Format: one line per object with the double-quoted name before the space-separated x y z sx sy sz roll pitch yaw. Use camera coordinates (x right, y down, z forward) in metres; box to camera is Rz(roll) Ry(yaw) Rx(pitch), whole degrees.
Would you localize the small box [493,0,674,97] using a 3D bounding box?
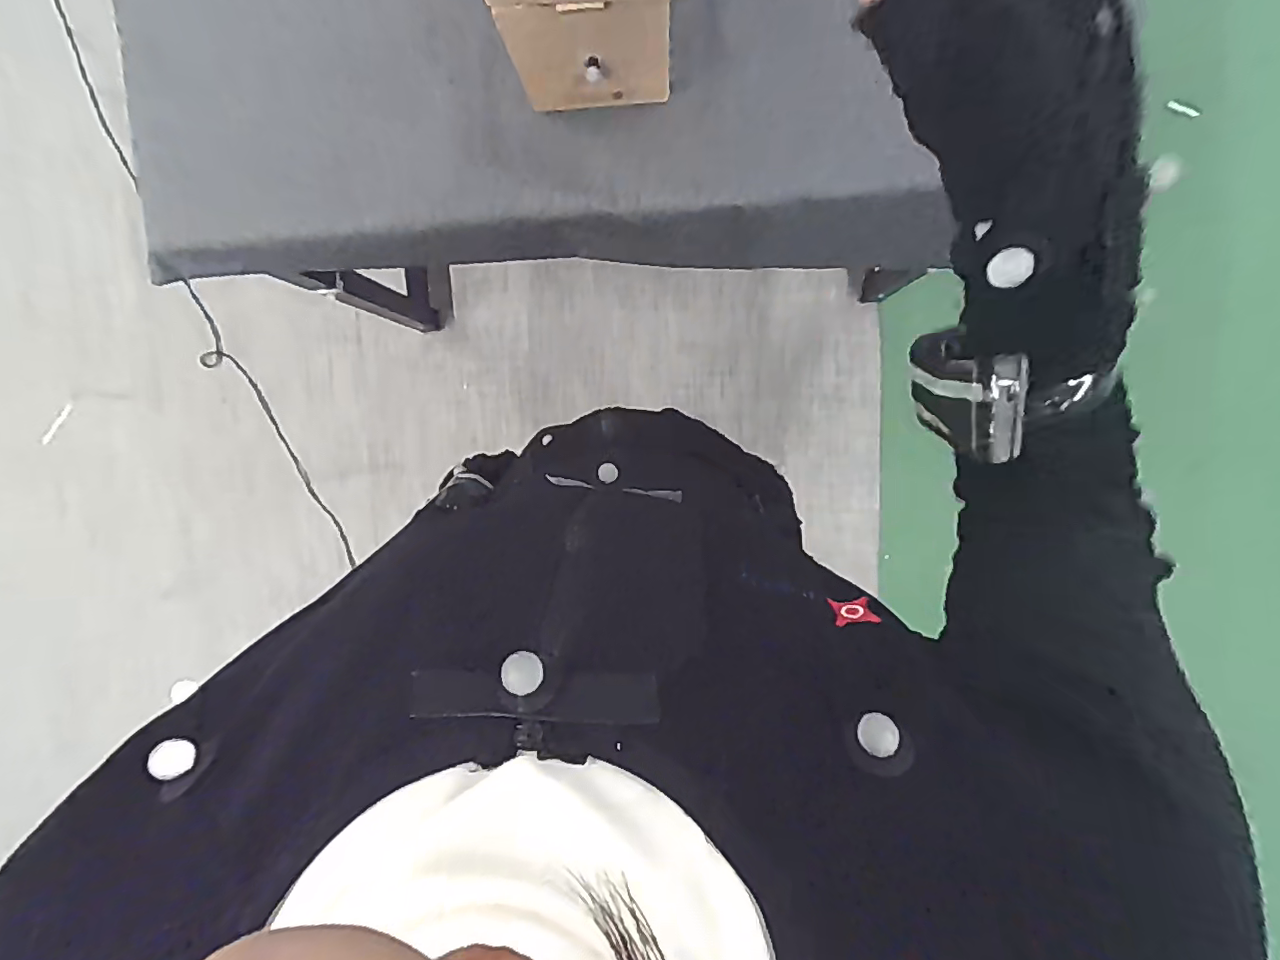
"small box" -0.052 -0.531 0.558 0.168 0.176 0.179 -3 96 5
